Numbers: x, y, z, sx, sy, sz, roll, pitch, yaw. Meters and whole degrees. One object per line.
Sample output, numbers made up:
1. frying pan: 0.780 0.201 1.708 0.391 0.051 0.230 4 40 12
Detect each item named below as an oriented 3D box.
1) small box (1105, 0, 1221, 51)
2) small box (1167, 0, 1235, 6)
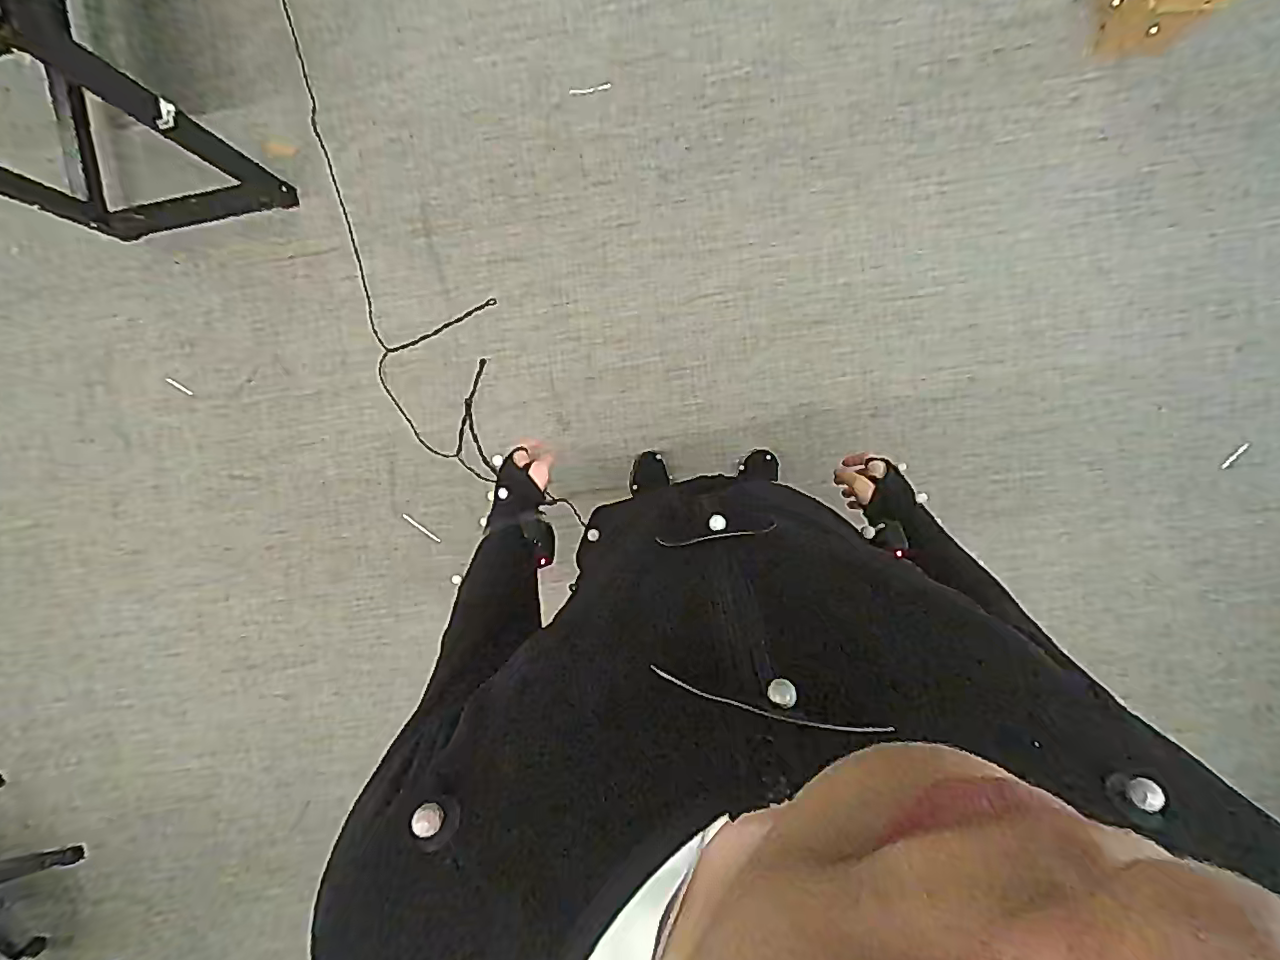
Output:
1. small box: 1.353 -1.248 1.394 0.179 0.176 0.168 0 95 5
2. small box: 1.351 -1.228 1.231 0.168 0.176 0.179 -1 94 3
